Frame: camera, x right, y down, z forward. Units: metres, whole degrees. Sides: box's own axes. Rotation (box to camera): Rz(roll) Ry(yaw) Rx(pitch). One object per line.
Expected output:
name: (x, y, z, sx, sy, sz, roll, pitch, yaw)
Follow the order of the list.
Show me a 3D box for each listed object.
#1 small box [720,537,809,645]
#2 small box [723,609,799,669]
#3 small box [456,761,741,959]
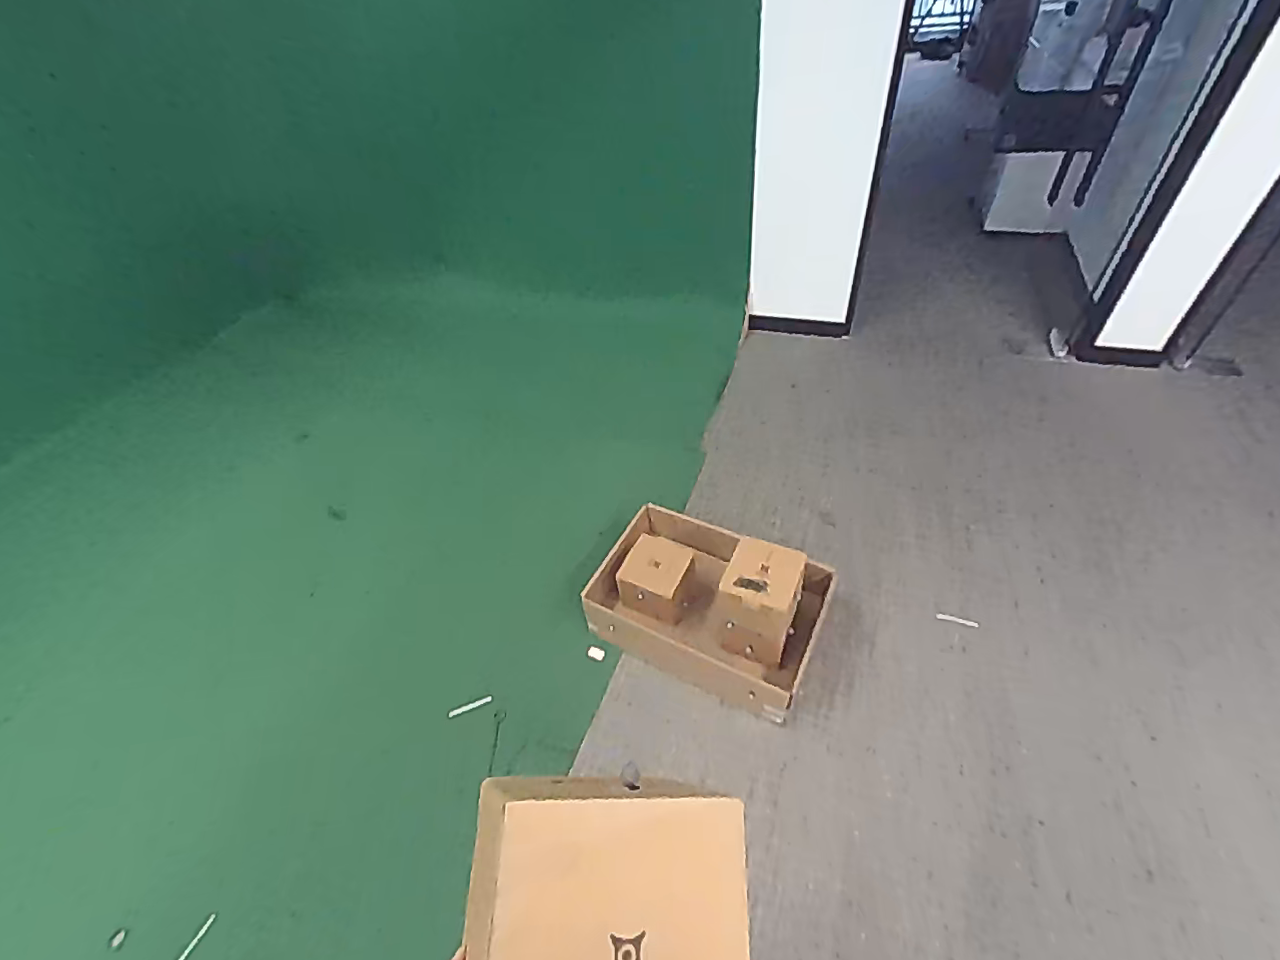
small box: (0.307, 0.277, 1.335, 0.168, 0.176, 0.179, 15, 50, 24)
small box: (0.332, 0.380, 1.462, 0.168, 0.176, 0.179, 14, 51, 22)
small box: (-0.040, 0.310, 0.397, 0.168, 0.176, 0.179, 10, 66, -16)
